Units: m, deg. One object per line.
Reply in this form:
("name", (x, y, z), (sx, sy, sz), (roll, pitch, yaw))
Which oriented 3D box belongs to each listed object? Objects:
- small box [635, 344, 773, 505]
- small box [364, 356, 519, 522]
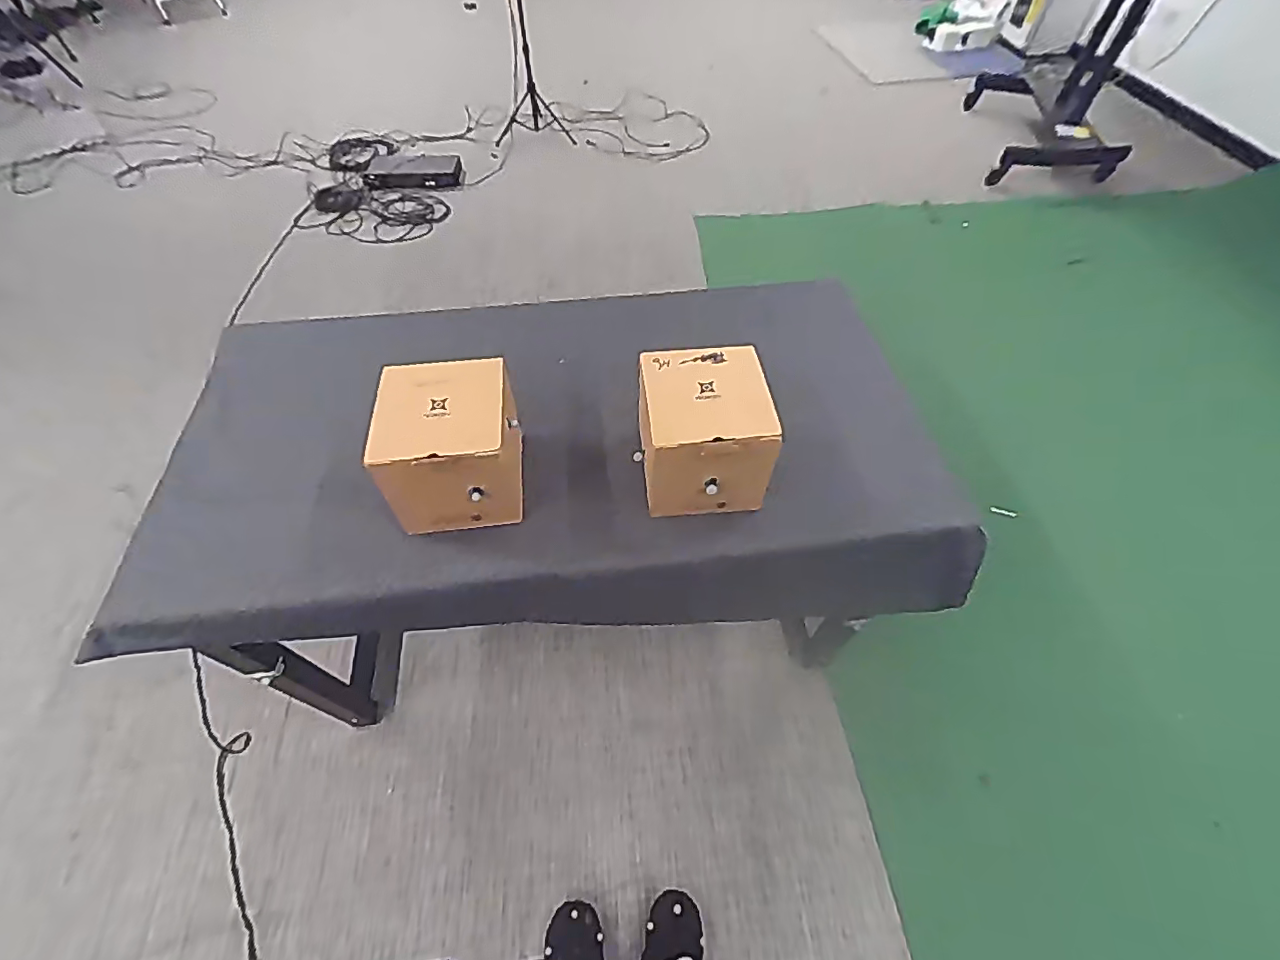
("small box", (0.082, -0.074, 0.793), (0.168, 0.176, 0.179), (-4, 55, -4))
("small box", (-0.268, -0.051, 0.775), (0.168, 0.176, 0.179), (-6, 53, -7))
